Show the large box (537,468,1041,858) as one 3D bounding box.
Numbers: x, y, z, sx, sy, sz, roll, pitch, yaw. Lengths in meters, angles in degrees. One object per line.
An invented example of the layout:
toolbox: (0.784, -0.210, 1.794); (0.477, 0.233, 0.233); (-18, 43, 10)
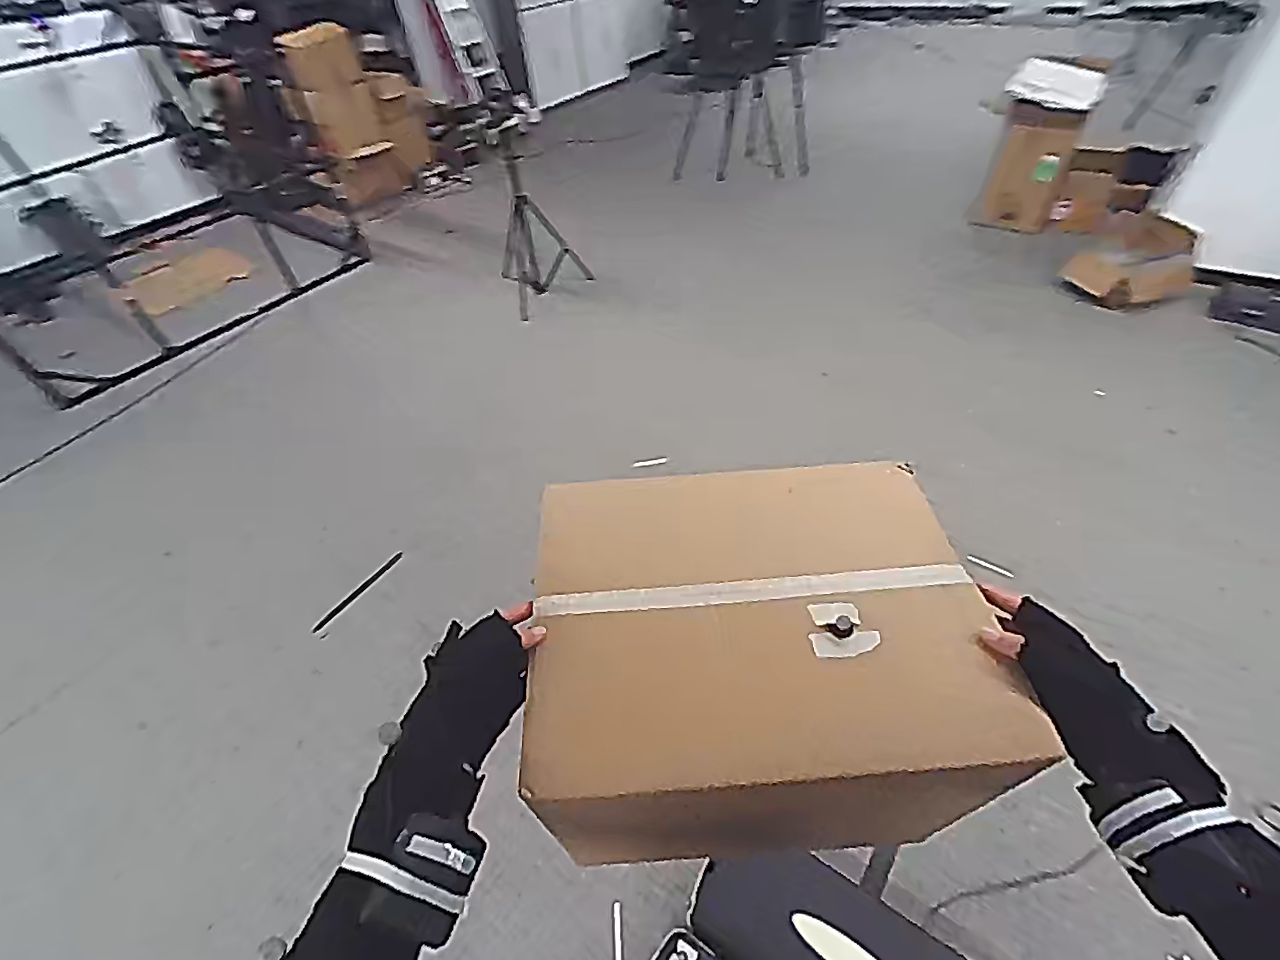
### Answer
large box: (0.111, 0.212, 0.624); (0.408, 0.320, 0.320); (-3, 47, -1)
